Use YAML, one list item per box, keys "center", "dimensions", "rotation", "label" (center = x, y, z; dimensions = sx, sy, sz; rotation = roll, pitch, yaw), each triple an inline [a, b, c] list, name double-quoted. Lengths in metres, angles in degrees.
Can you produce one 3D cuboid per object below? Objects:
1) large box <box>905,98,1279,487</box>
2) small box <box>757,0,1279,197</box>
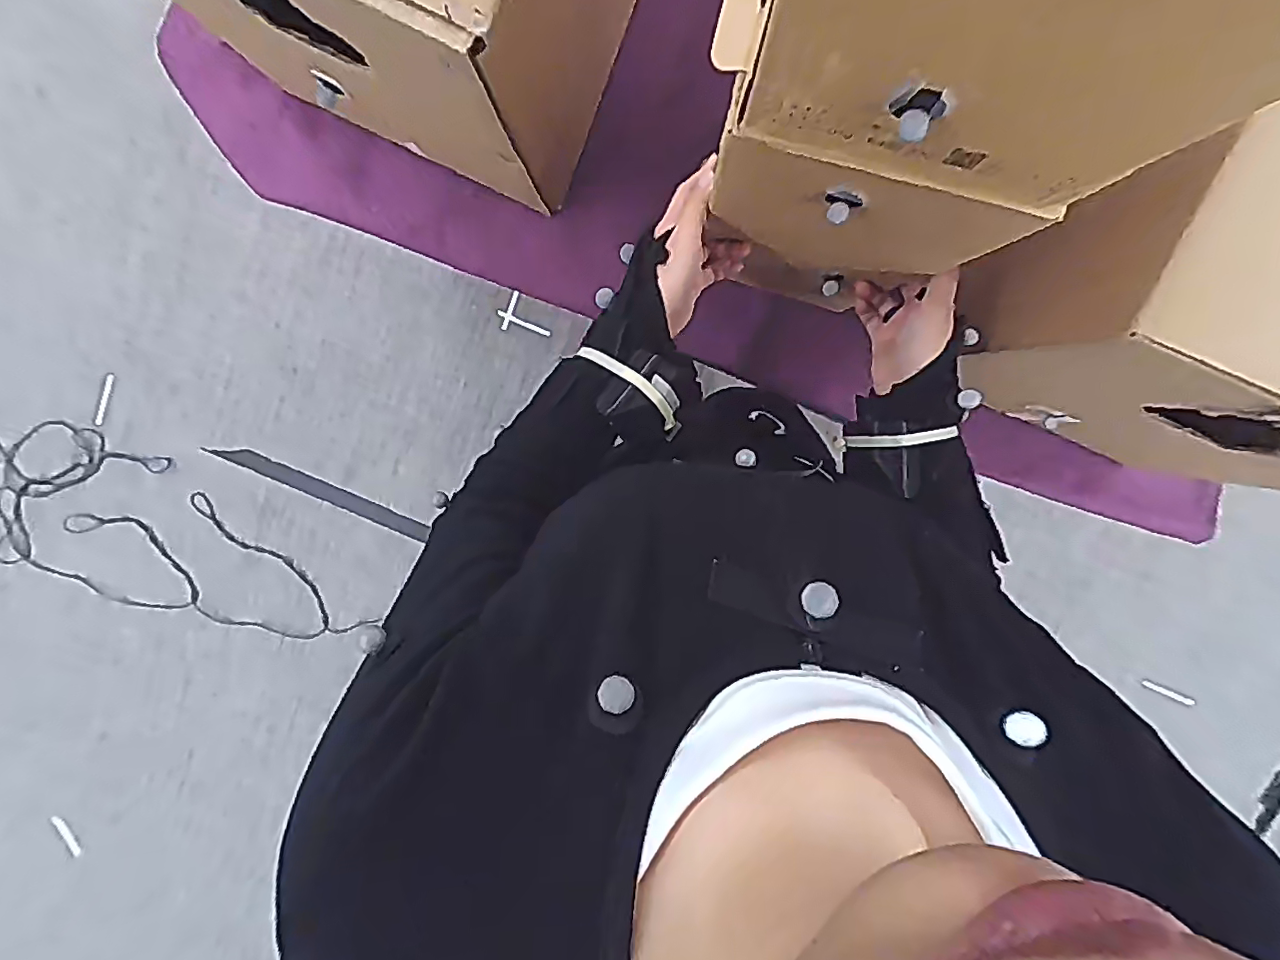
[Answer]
- center: [0.497, -0.227, 0.434]
  dimensions: [0.320, 0.320, 0.408]
  rotation: [22, 98, -3]
  label: "large box"
- center: [0.145, -0.221, 0.167]
  dimensions: [0.168, 0.176, 0.179]
  rotation: [14, 100, 1]
  label: "small box"
